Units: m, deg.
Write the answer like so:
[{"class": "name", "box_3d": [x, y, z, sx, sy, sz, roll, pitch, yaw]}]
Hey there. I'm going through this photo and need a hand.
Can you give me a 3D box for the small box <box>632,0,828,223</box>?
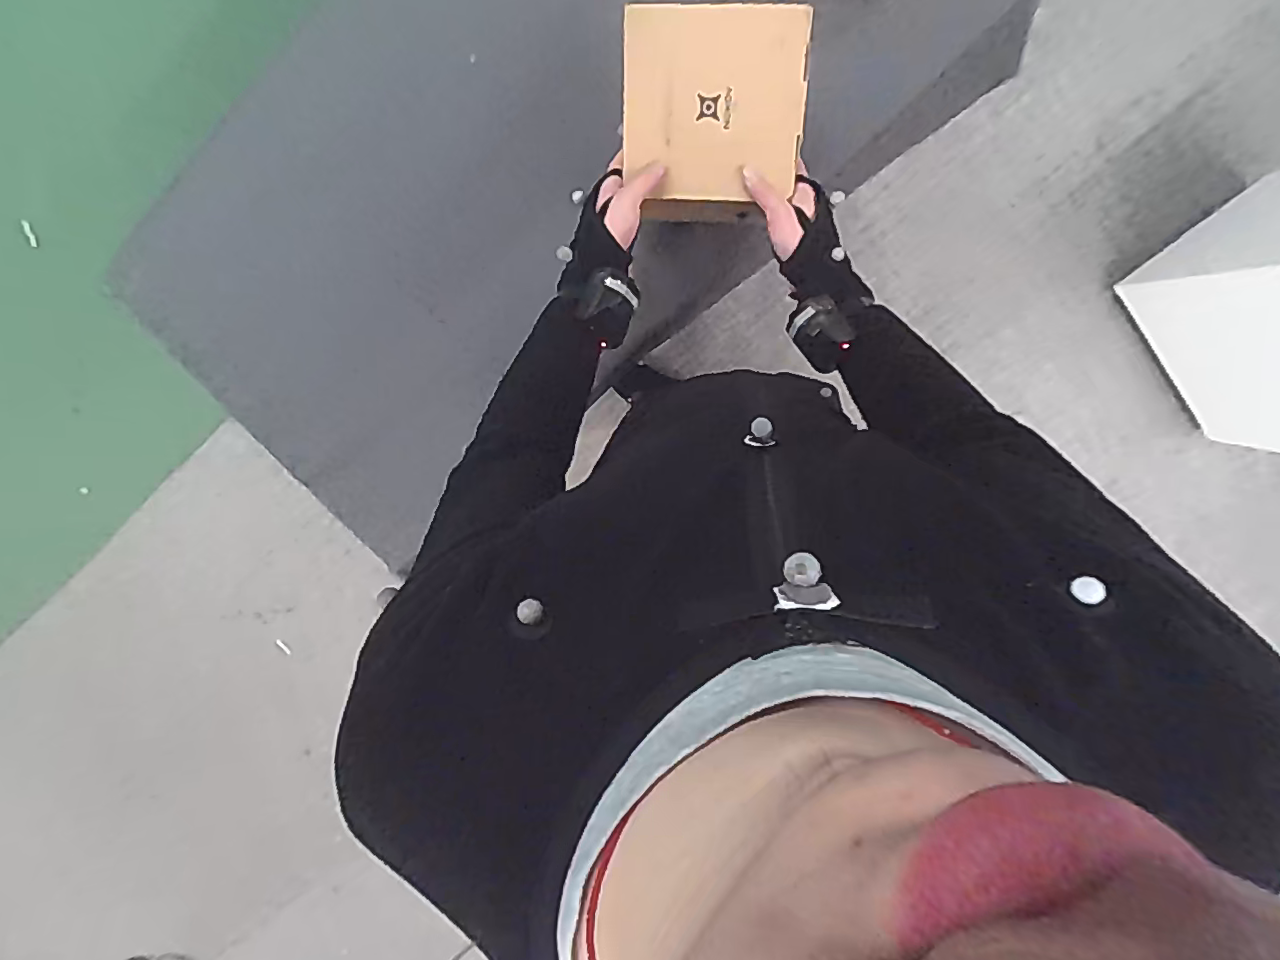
[{"class": "small box", "box_3d": [0.085, -0.382, 0.589, 0.179, 0.176, 0.168, 2, 108, 2]}]
